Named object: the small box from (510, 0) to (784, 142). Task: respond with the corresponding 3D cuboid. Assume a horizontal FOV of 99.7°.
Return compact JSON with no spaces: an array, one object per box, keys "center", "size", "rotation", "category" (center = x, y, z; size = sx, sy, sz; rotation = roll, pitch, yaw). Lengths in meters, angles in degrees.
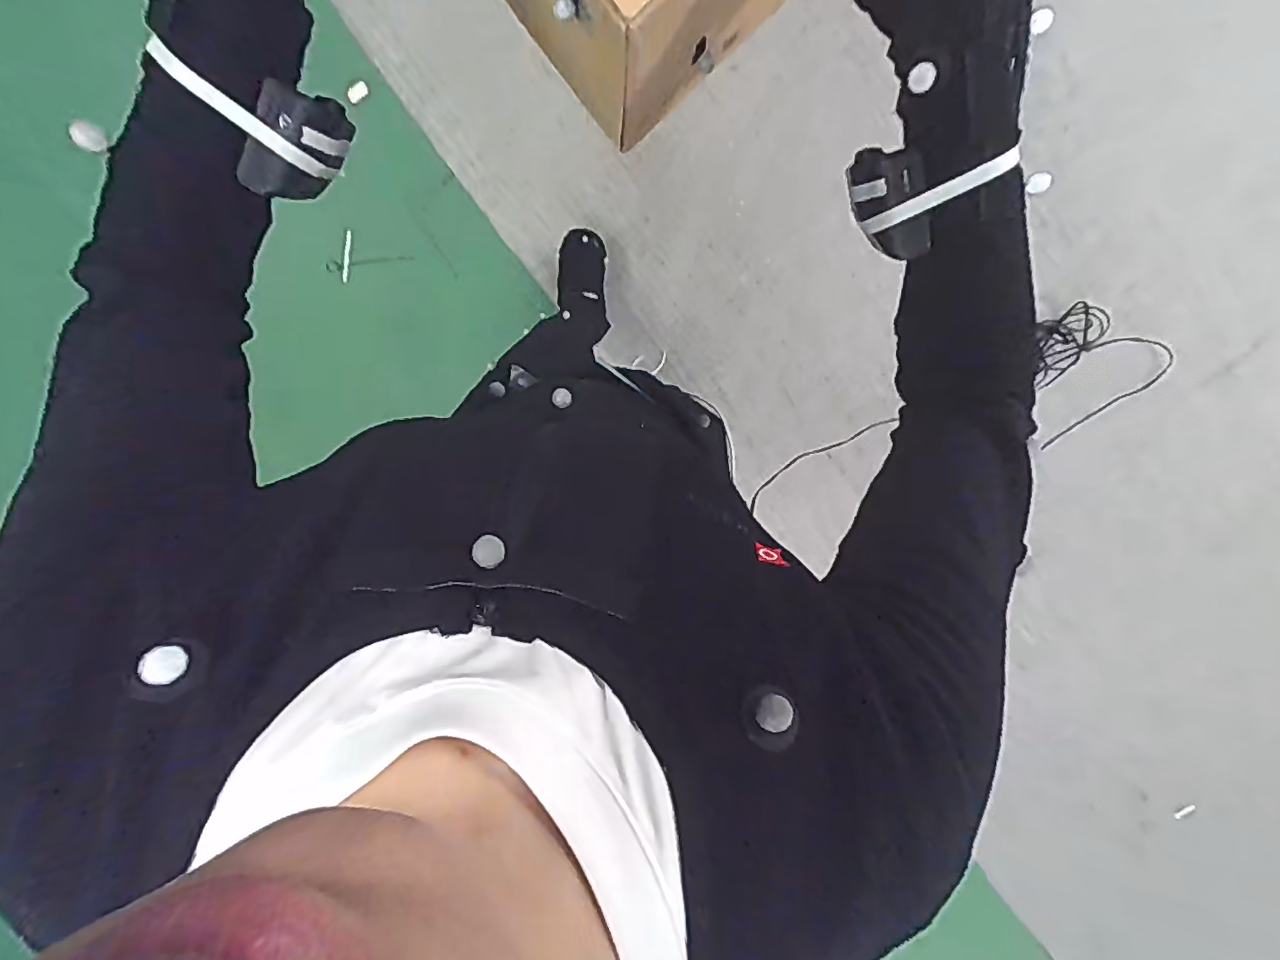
[{"center":[-0.001,-0.359,0.331],"size":[0.168,0.176,0.179],"rotation":[-40,101,6],"category":"small box"}]
